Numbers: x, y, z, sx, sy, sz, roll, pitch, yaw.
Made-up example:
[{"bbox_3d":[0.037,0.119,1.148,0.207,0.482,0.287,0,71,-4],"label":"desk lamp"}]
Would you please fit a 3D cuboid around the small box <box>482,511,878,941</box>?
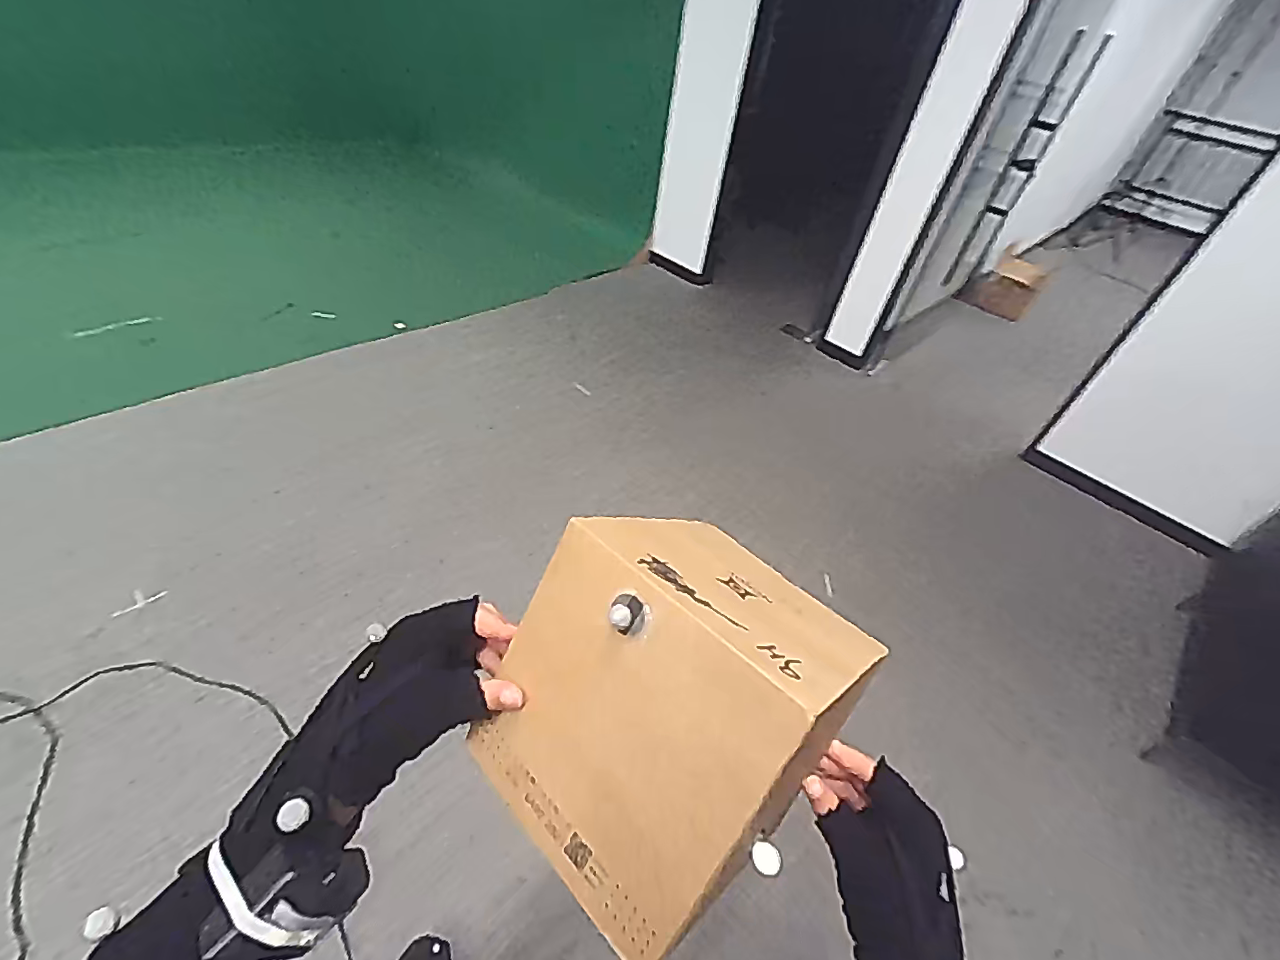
[{"bbox_3d":[0.028,0.138,0.367,0.168,0.176,0.179,33,13,32],"label":"small box"}]
